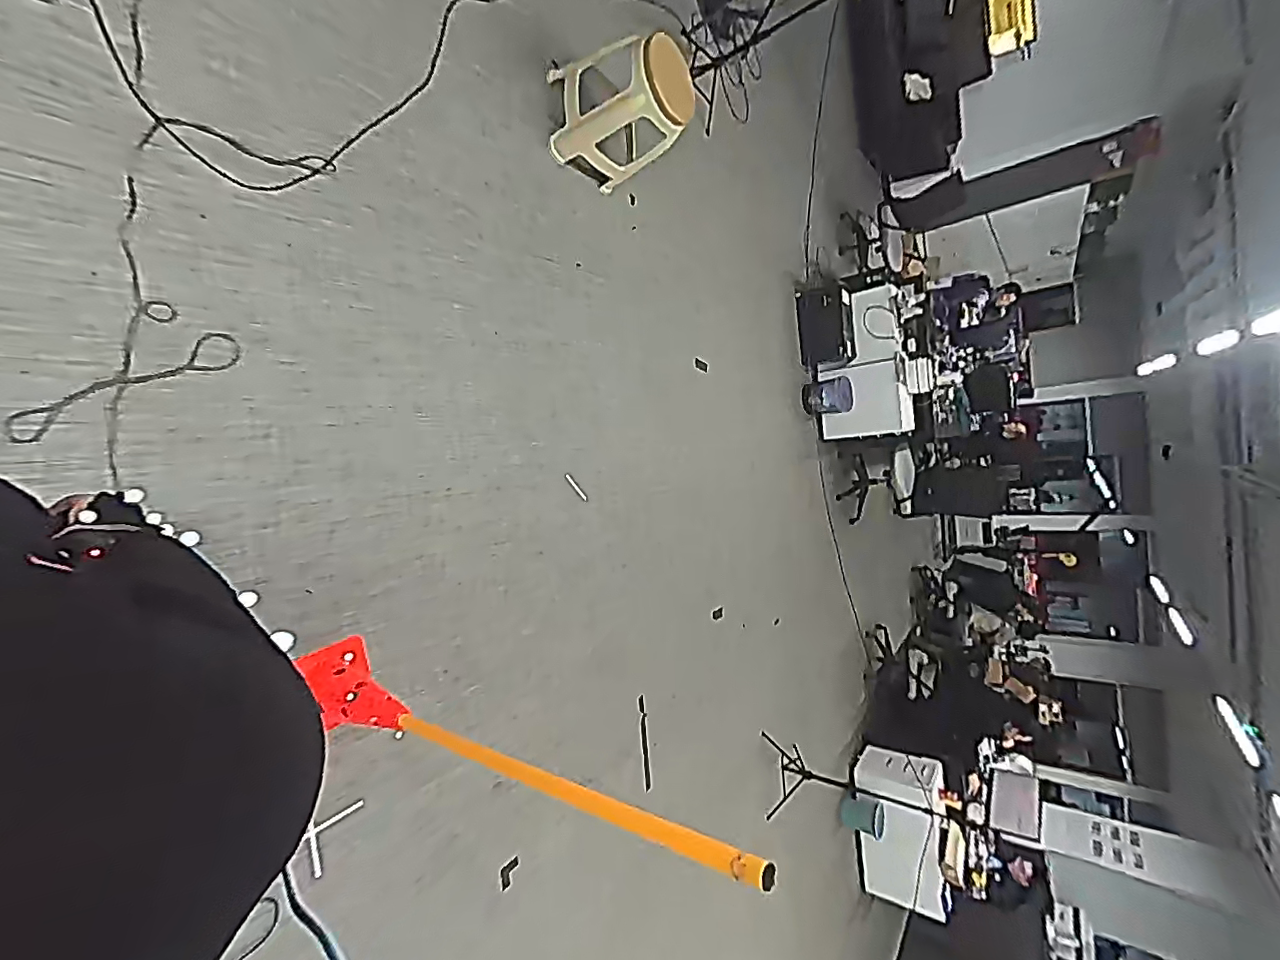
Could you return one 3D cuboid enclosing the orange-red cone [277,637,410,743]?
[{"bbox_3d":[-0.618,0.493,1.199,0.199,0.360,0.198,-17,100,-50],"label":"orange-red cone"}]
